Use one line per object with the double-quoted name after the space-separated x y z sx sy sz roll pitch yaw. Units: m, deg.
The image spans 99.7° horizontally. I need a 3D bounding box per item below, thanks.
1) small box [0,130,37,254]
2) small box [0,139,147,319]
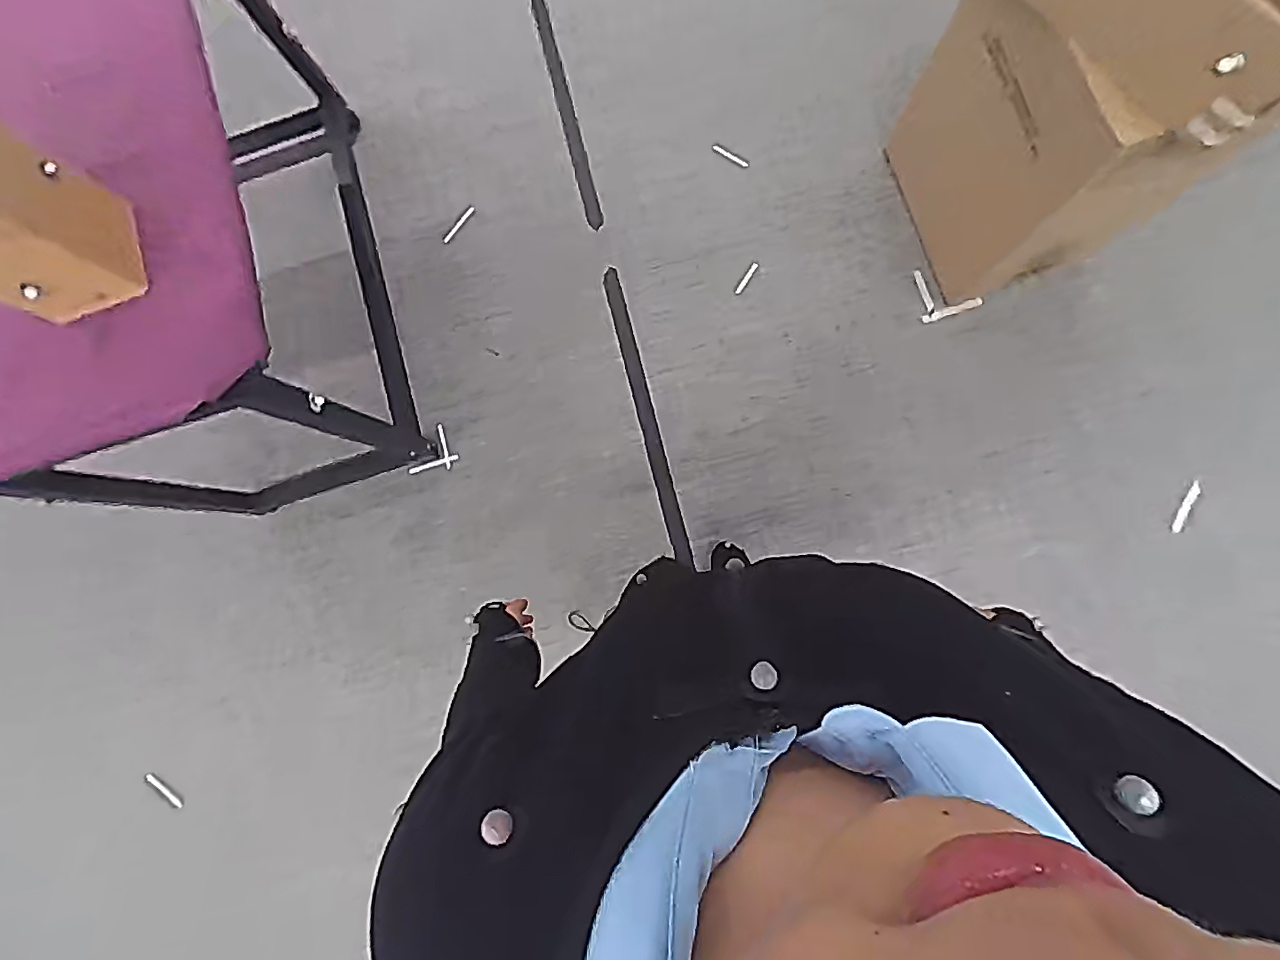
-0.941 -0.398 0.684 0.168 0.176 0.179 -20 82 3 "small box"
-0.931 -0.374 0.847 0.168 0.176 0.179 -20 81 2 "small box"
